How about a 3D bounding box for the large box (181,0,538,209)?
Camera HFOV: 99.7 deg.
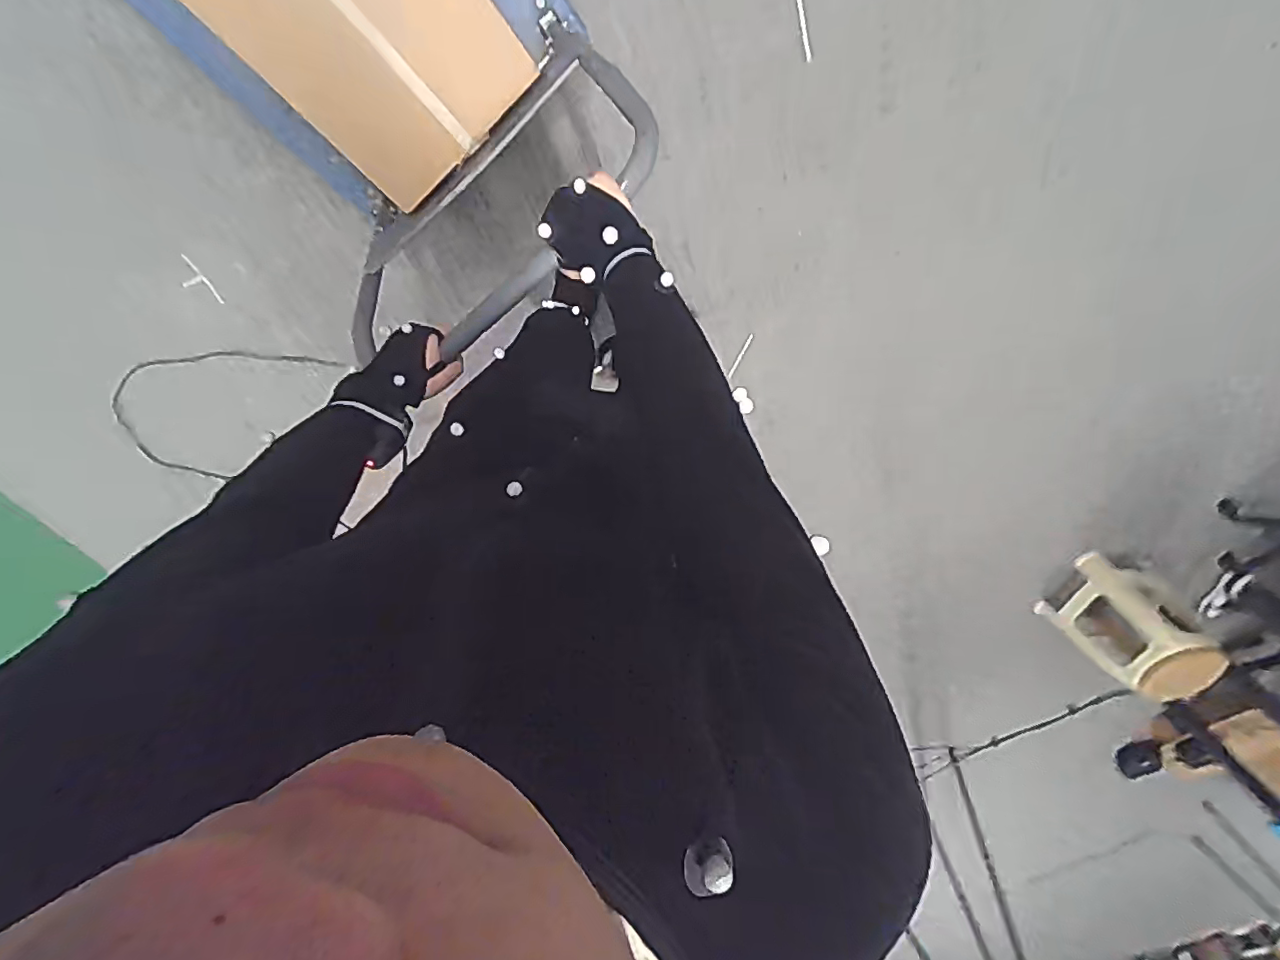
[{"bbox_3d":[-0.414,-0.730,0.849,0.320,0.320,0.408,-36,130,17],"label":"large box"}]
